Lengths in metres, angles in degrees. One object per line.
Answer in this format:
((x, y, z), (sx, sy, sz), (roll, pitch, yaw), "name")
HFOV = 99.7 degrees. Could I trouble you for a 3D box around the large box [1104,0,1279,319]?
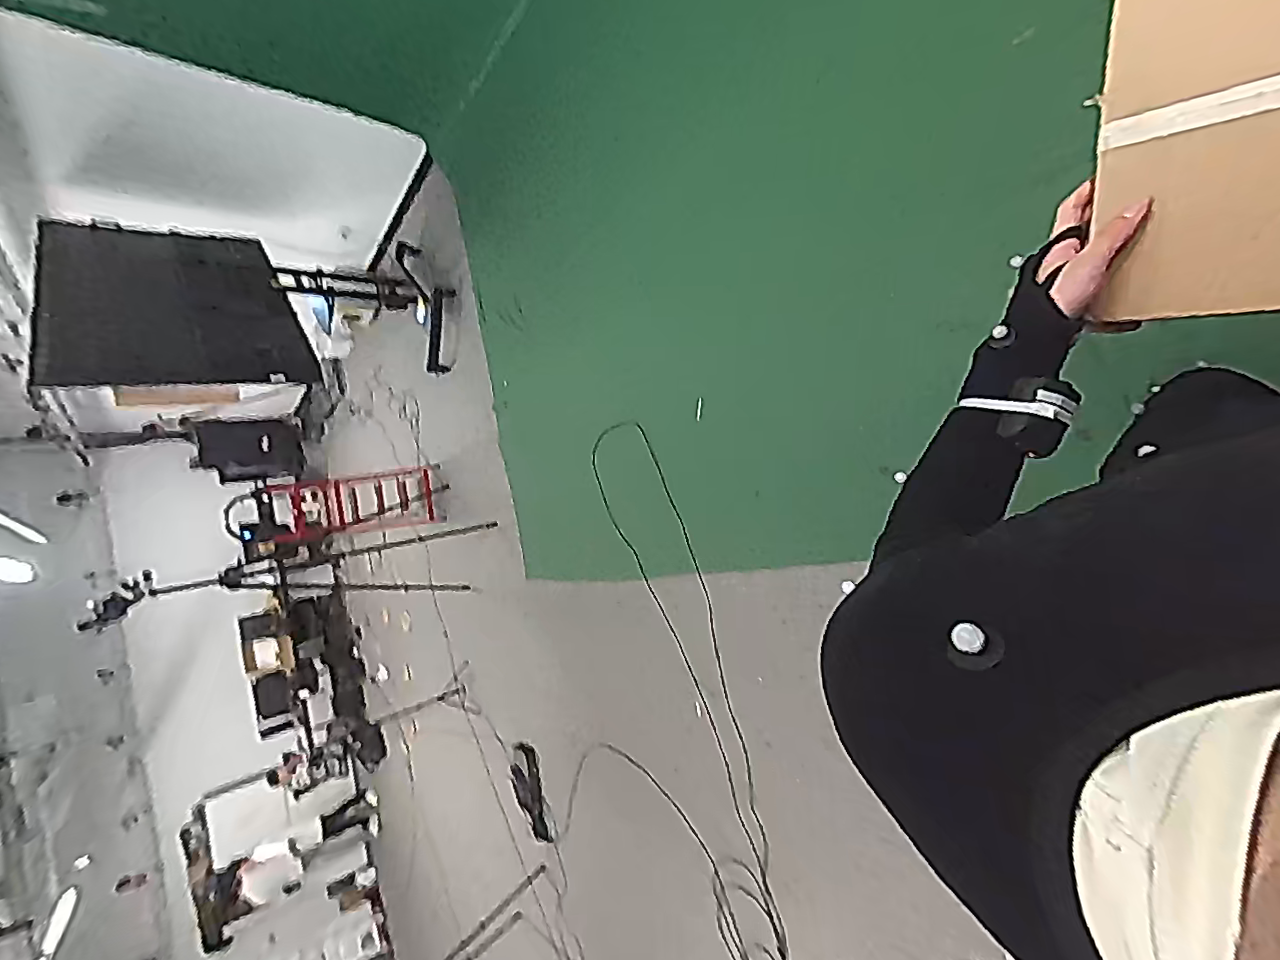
((0.658, -0.311, 0.420), (0.408, 0.320, 0.320), (10, 110, 48), "large box")
